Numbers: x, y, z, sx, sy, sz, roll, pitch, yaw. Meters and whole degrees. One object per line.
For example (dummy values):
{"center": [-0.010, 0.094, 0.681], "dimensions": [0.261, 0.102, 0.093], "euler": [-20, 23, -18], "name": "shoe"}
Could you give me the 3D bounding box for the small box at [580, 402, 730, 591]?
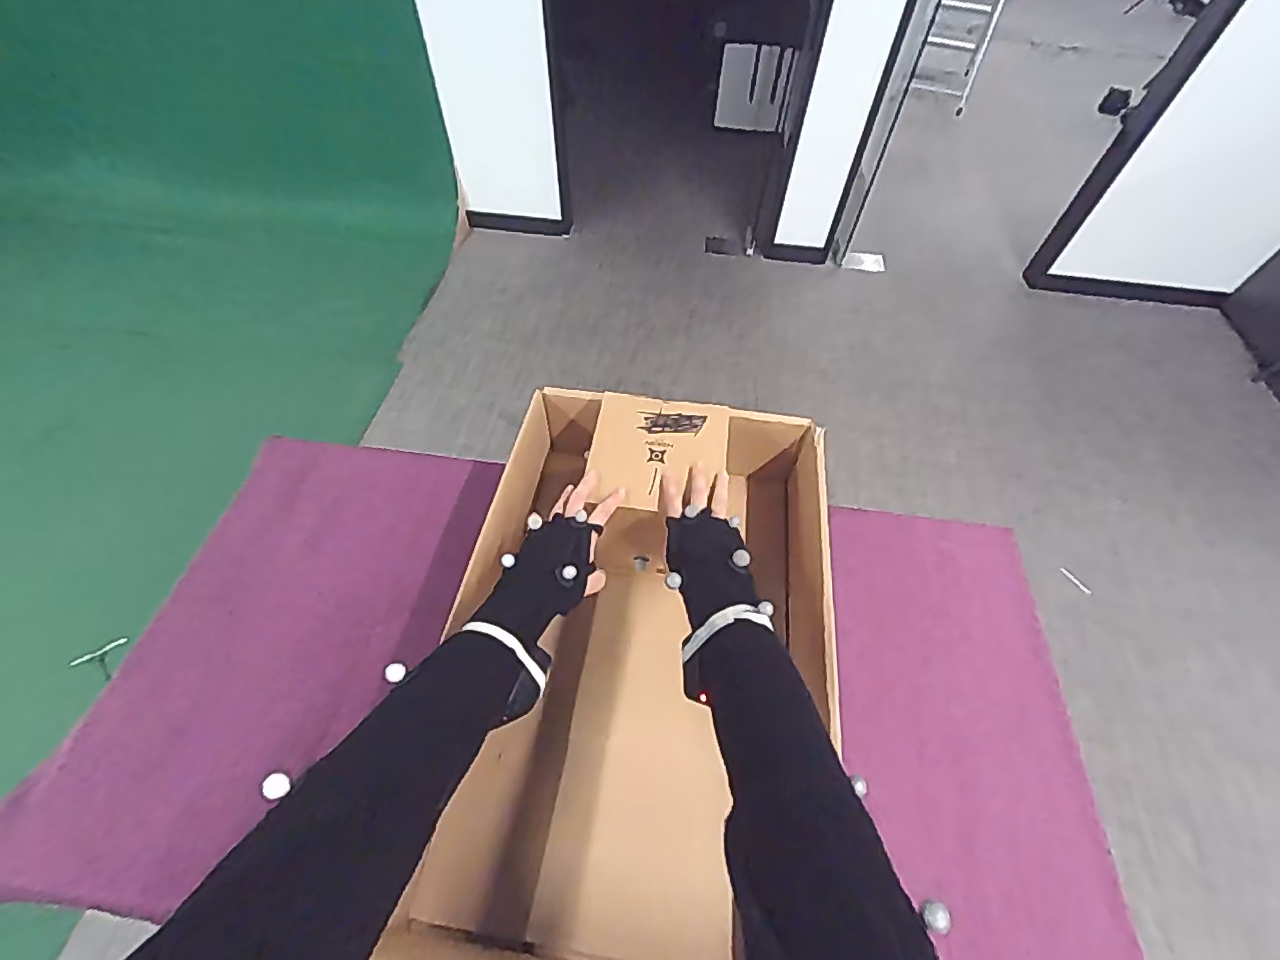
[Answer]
{"center": [0.021, 0.025, 0.717], "dimensions": [0.168, 0.176, 0.179], "euler": [7, 55, 4], "name": "small box"}
